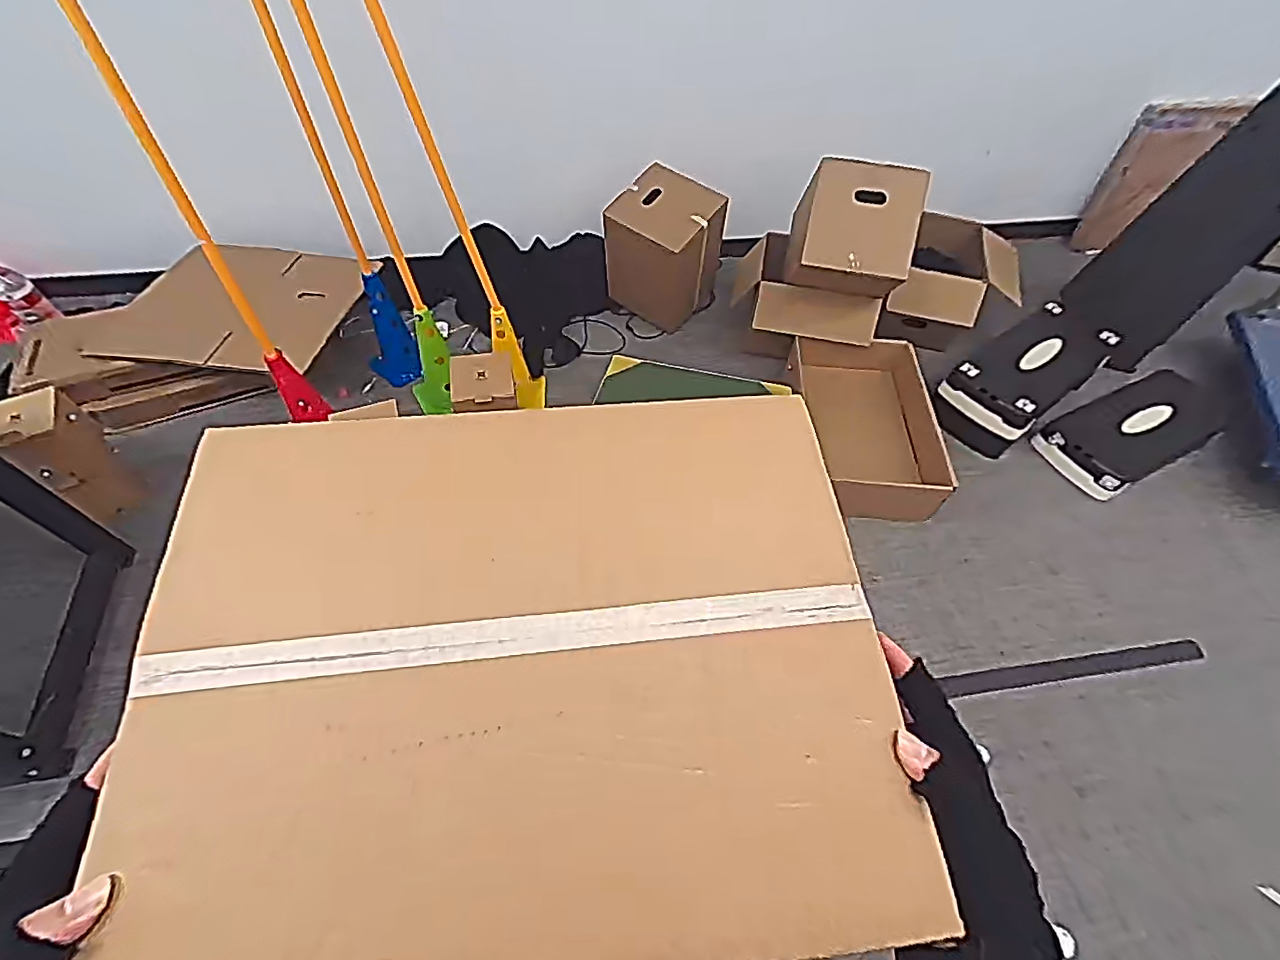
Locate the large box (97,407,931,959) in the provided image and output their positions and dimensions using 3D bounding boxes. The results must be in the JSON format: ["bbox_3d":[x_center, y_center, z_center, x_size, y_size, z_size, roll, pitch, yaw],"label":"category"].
[{"bbox_3d":[-0.073,0.164,0.452,0.408,0.320,0.320,-4,64,-6],"label":"large box"}]
